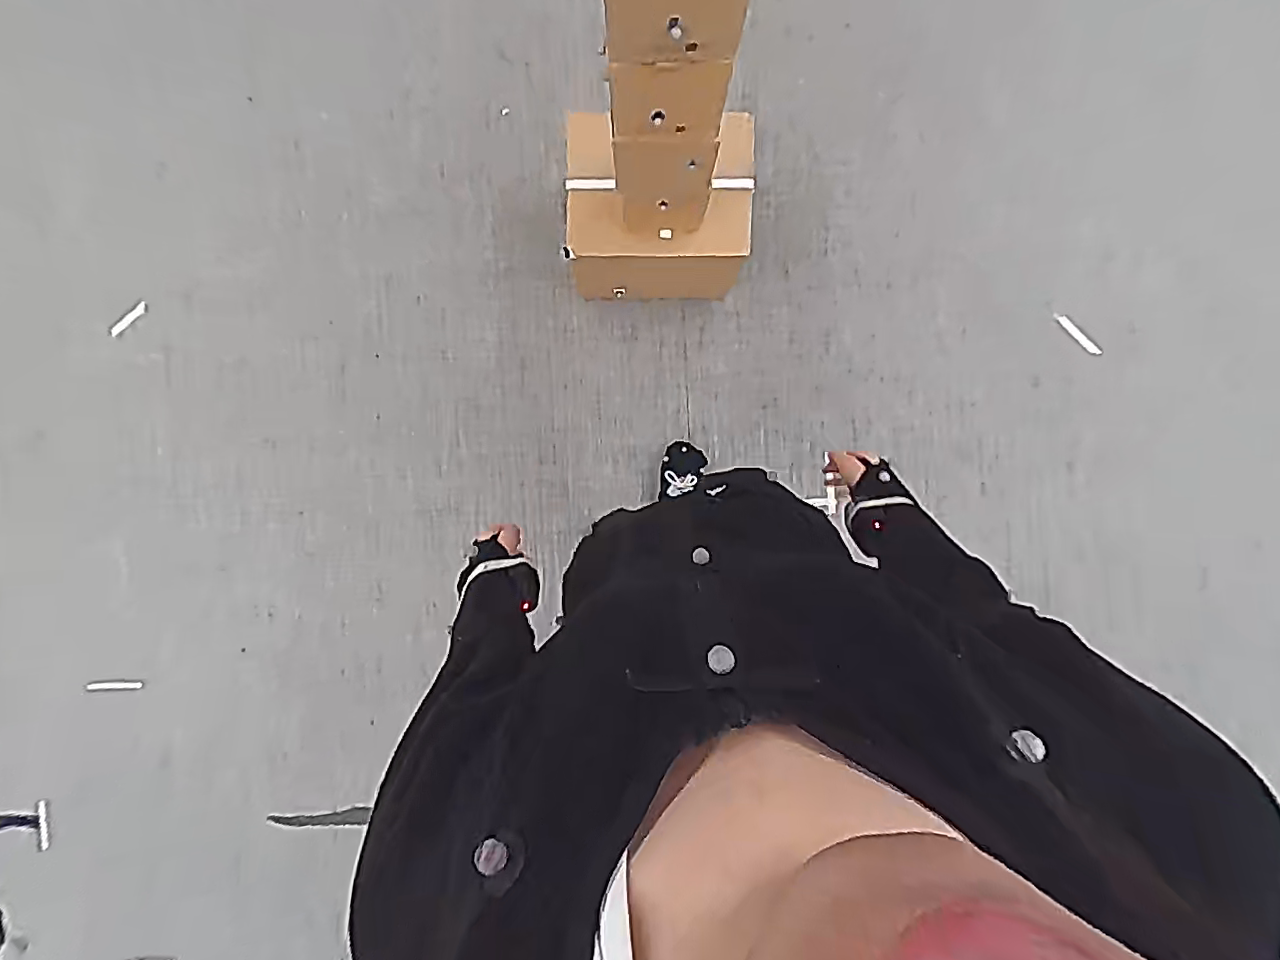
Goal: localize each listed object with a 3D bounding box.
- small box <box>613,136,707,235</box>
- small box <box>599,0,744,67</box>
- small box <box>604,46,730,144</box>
[{"bbox_3d":[0.038,-0.619,1.106,0.179,0.176,0.168,-4,92,-1],"label":"small box"},{"bbox_3d":[0.031,-0.621,0.615,0.168,0.176,0.179,-4,92,0],"label":"small box"},{"bbox_3d":[0.031,-0.622,0.780,0.168,0.176,0.179,-3,92,0],"label":"small box"}]
